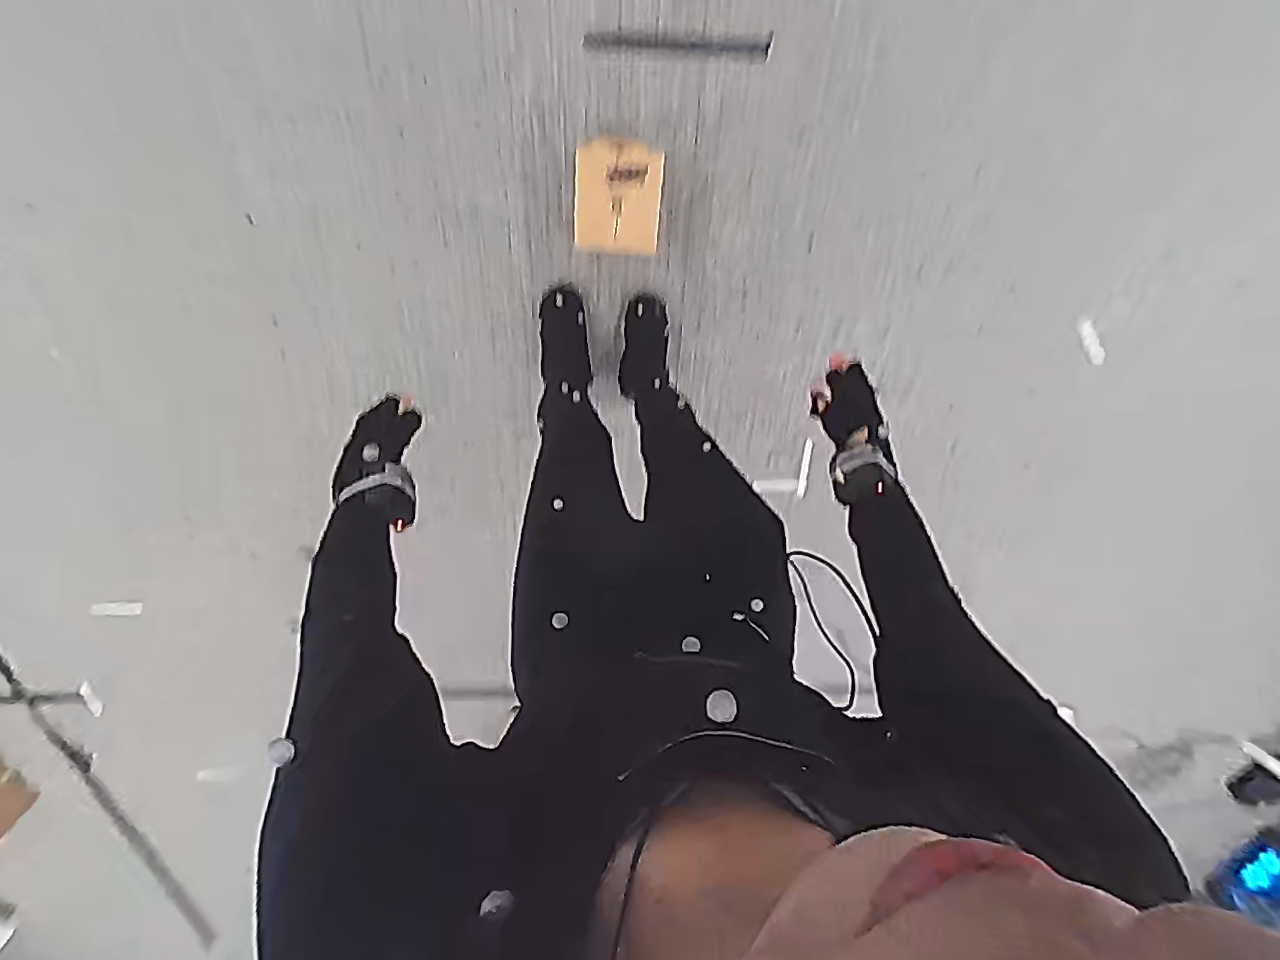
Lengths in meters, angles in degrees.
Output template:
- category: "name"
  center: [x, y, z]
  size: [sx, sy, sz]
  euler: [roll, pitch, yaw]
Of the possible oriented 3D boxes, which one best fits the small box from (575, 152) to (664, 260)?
- category: "small box"
  center: [-0.048, -0.562, 1.113]
  size: [0.168, 0.176, 0.179]
  euler: [3, 119, -5]
